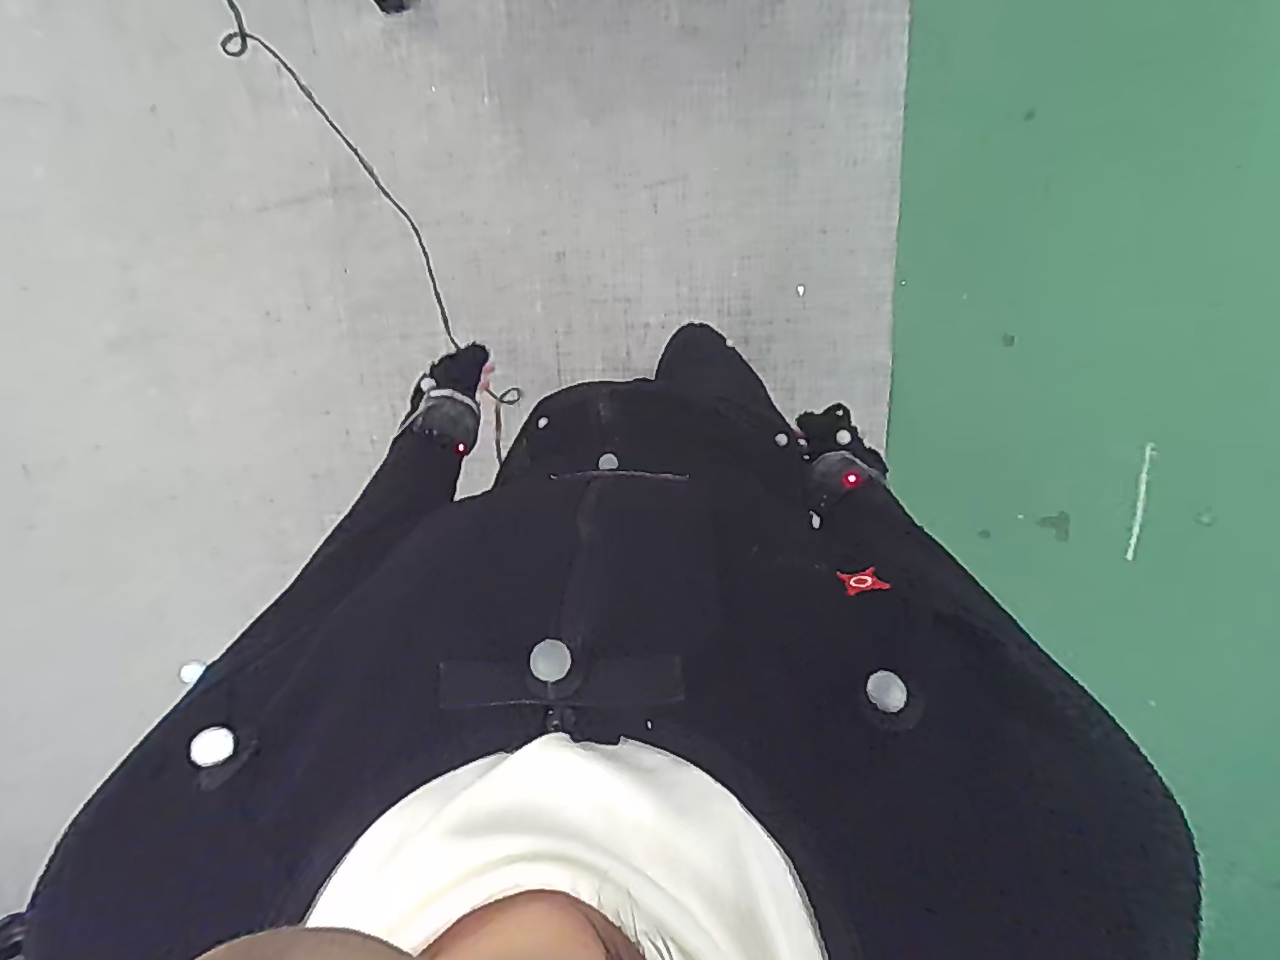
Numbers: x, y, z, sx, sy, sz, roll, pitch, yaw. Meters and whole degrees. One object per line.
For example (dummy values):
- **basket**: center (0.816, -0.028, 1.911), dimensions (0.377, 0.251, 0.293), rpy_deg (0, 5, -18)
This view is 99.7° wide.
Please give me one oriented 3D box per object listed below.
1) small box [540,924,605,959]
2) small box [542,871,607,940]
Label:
- **small box**: center (-0.198, 1.412, 1.539), dimensions (0.179, 0.176, 0.168), rpy_deg (2, 103, 1)
- **small box**: center (-0.200, 1.367, 1.697), dimensions (0.179, 0.176, 0.168), rpy_deg (-1, 103, 2)
